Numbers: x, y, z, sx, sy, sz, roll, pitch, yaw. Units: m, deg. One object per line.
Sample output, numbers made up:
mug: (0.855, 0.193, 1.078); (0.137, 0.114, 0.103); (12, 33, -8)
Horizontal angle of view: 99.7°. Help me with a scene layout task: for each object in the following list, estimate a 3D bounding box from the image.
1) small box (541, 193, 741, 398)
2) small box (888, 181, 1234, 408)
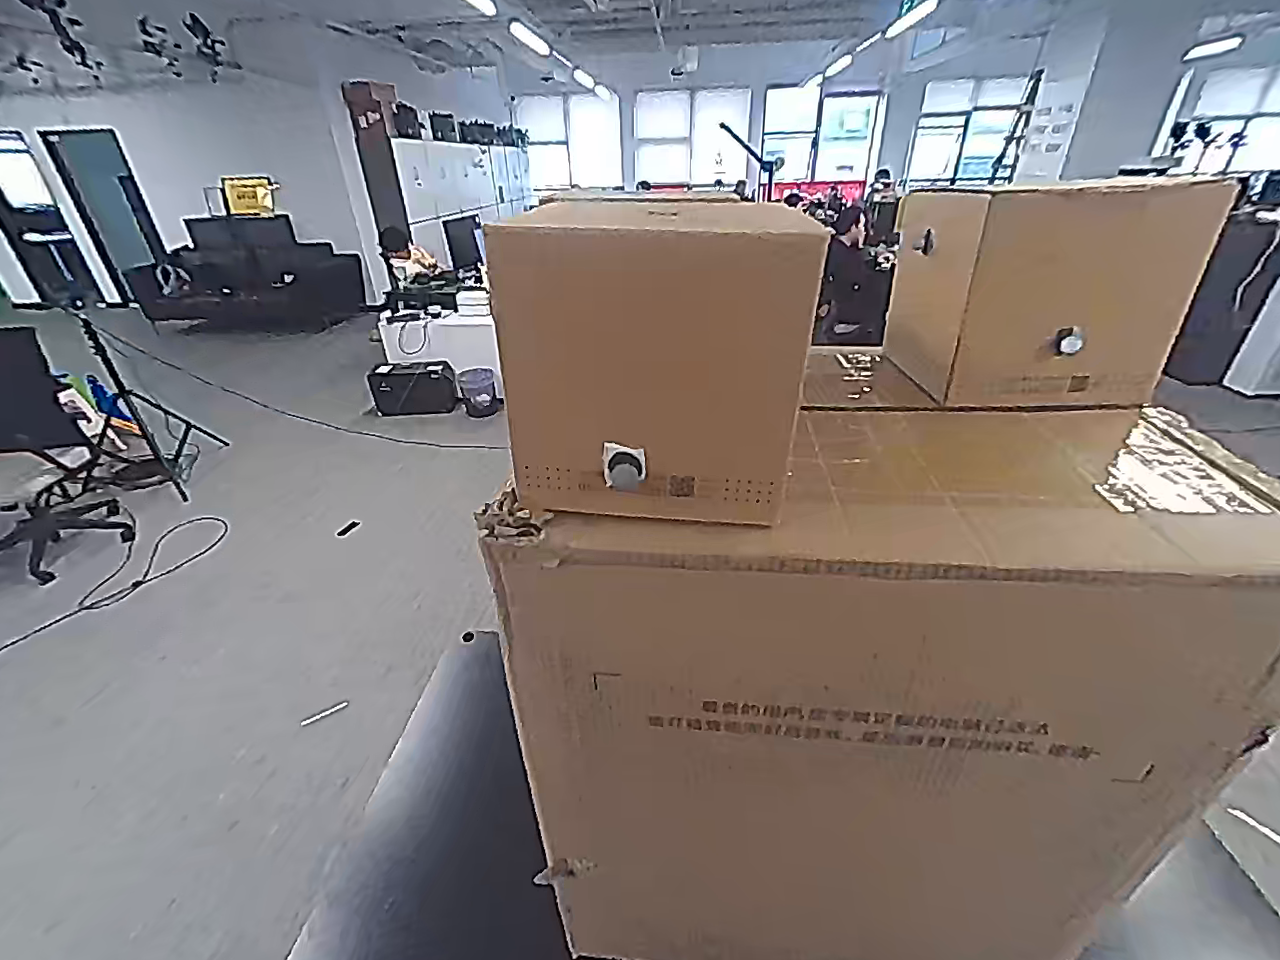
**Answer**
small box: (0.000, -0.191, 0.546); (0.168, 0.176, 0.179); (-1, 29, 0)
small box: (0.346, -0.173, 0.496); (0.168, 0.176, 0.179); (0, 28, 6)
